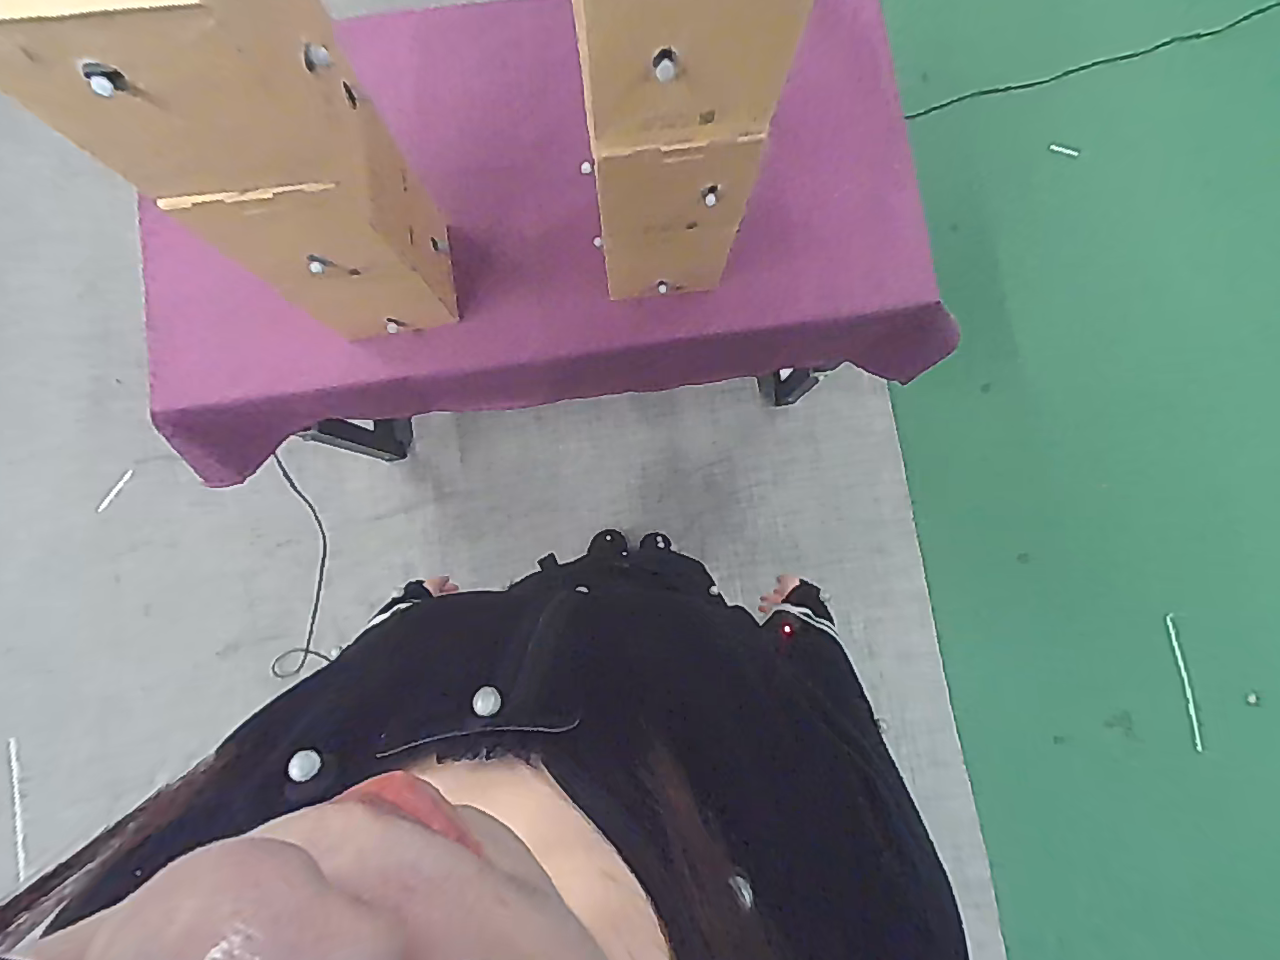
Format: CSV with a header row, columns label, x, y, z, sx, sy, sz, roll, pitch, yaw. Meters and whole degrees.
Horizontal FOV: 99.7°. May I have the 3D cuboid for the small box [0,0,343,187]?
label,x,y,z,sx,sy,sz,roll,pitch,yaw
small box,-0.363,-0.355,0.419,0.179,0.176,0.168,-6,85,-3

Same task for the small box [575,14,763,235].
label,x,y,z,sx,sy,sz,roll,pitch,yaw
small box,0.026,-0.392,0.597,0.168,0.176,0.179,-8,85,-2

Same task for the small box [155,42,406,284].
label,x,y,z,sx,sy,sz,roll,pitch,yaw
small box,-0.372,-0.338,0.583,0.168,0.176,0.179,-8,85,-2

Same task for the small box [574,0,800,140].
label,x,y,z,sx,sy,sz,roll,pitch,yaw
small box,0.028,-0.407,0.436,0.168,0.176,0.179,-8,85,-2

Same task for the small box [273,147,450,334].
label,x,y,z,sx,sy,sz,roll,pitch,yaw
small box,-0.375,-0.318,0.747,0.179,0.176,0.168,-10,85,-3
